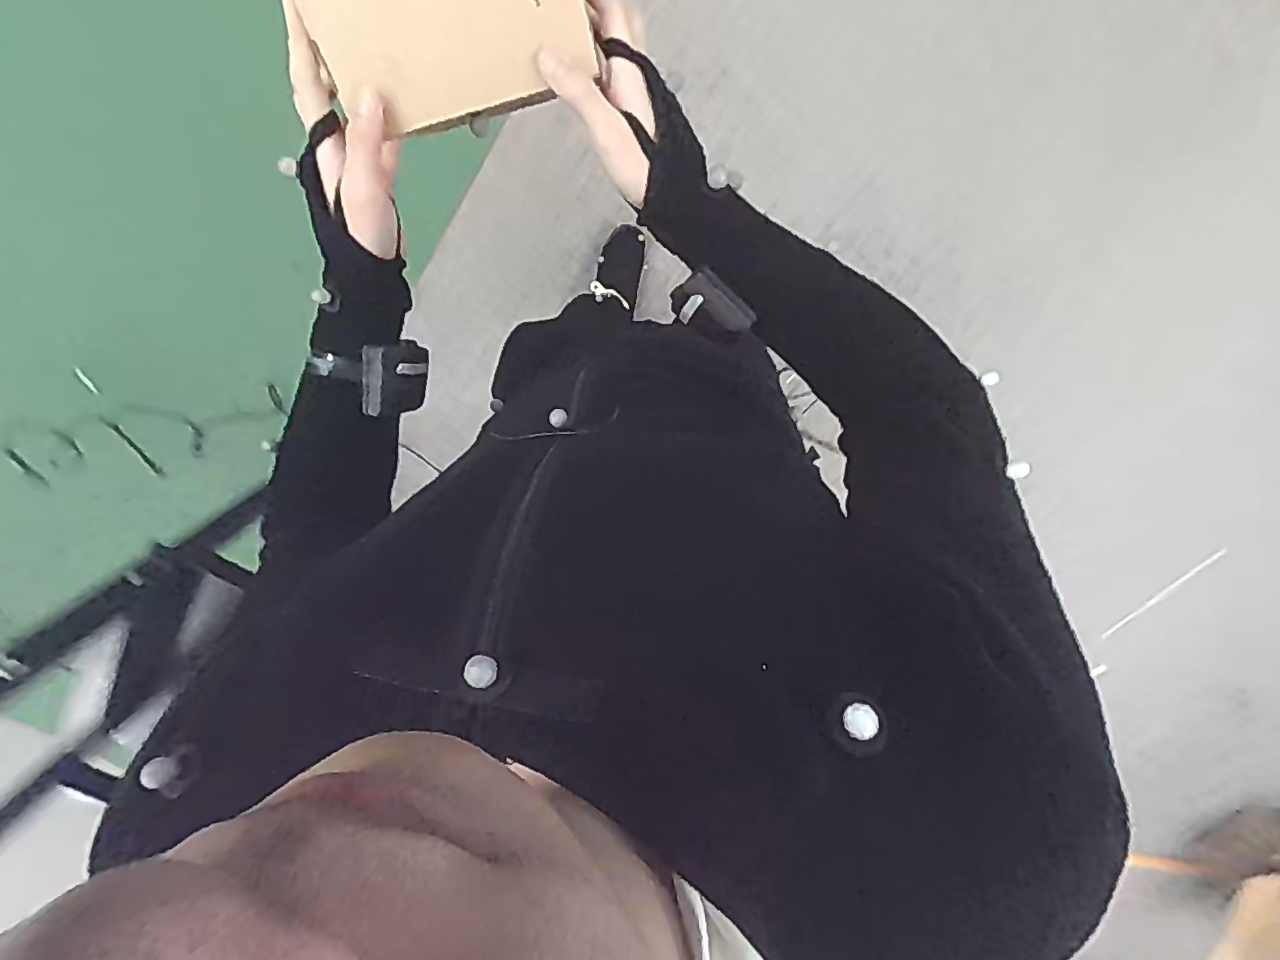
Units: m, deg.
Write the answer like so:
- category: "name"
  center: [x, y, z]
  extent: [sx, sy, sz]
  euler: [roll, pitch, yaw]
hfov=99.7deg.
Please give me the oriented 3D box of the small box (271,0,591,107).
- category: "small box"
  center: [-0.138, -0.363, 0.362]
  extent: [0.179, 0.176, 0.168]
  euler: [-9, 126, 5]
